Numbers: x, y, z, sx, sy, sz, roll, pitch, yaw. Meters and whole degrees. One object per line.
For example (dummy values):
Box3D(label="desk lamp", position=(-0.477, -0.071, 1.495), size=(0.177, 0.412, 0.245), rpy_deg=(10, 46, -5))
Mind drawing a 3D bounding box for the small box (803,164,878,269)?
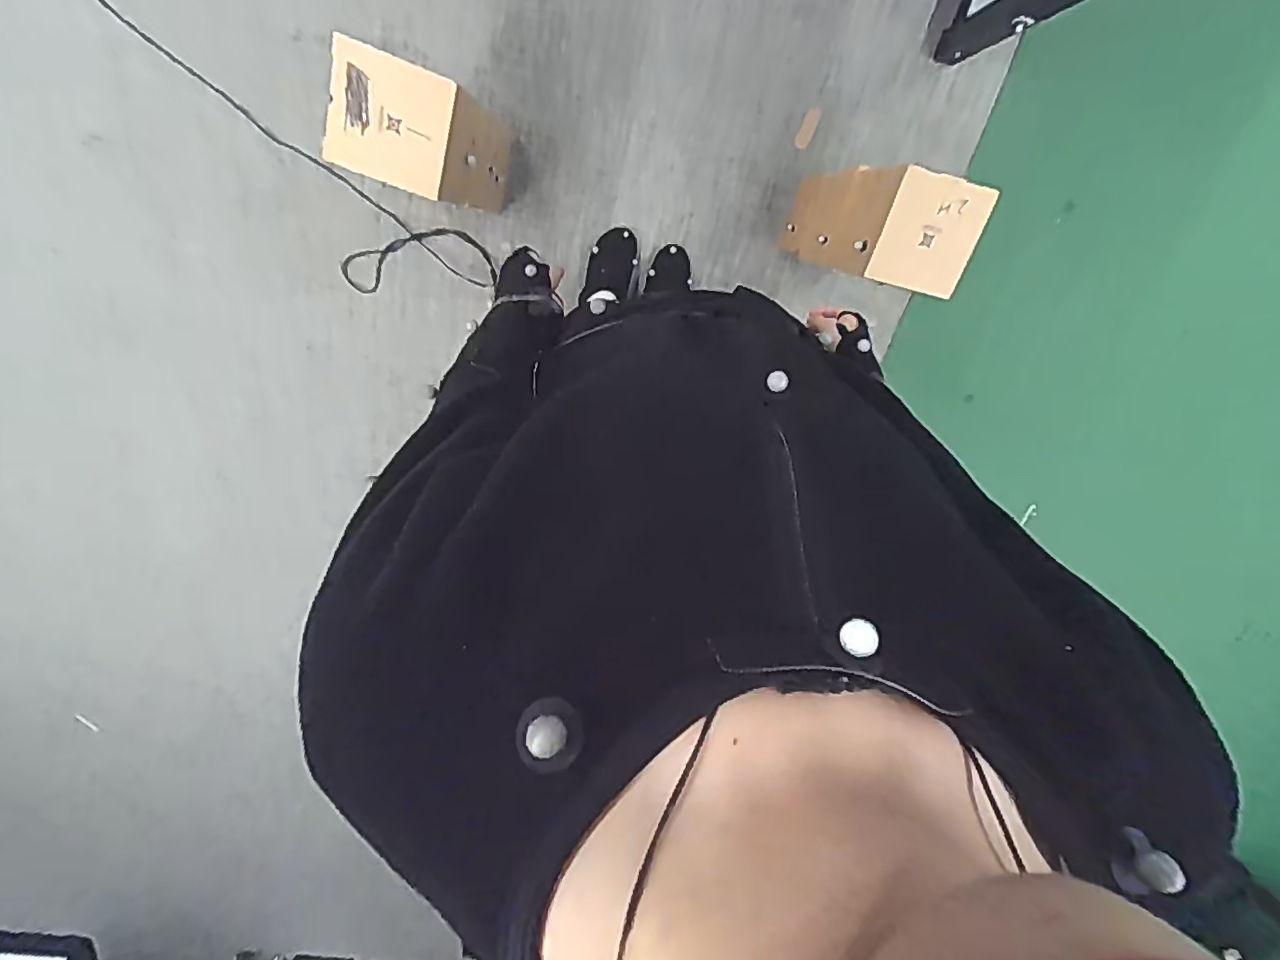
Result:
Box3D(label="small box", position=(0.455, -0.521, 1.103), size=(0.168, 0.176, 0.179), rpy_deg=(11, 116, -8))

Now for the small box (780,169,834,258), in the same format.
Box3D(label="small box", position=(0.445, -0.594, 1.248), size=(0.179, 0.176, 0.168), rpy_deg=(13, 114, -9))

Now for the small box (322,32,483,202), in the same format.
Box3D(label="small box", position=(-0.371, -0.561, 0.866), size=(0.179, 0.176, 0.168), rpy_deg=(17, 113, -10))

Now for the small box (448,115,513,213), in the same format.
Box3D(label="small box", position=(-0.381, -0.694, 1.168), size=(0.168, 0.176, 0.179), rpy_deg=(16, 114, -10))

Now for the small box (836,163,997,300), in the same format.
Box3D(label="small box", position=(0.473, -0.439, 0.961), size=(0.168, 0.176, 0.179), rpy_deg=(11, 115, -8))
